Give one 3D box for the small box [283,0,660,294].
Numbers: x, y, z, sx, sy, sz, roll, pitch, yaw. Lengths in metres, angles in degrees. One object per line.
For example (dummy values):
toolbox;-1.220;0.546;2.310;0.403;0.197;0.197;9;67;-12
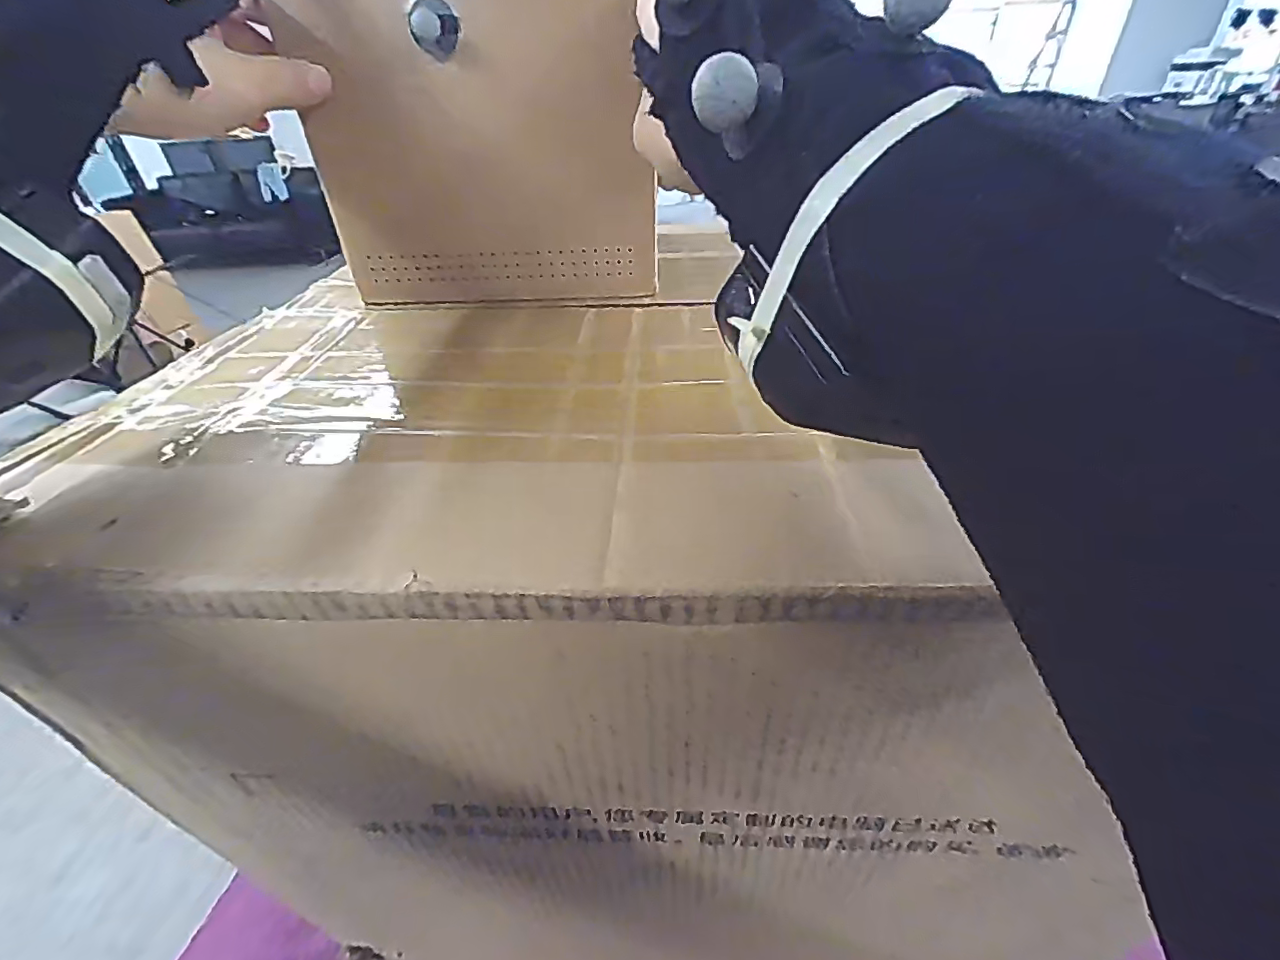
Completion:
small box;-0.077;-0.219;0.328;0.179;0.176;0.168;-1;37;1
